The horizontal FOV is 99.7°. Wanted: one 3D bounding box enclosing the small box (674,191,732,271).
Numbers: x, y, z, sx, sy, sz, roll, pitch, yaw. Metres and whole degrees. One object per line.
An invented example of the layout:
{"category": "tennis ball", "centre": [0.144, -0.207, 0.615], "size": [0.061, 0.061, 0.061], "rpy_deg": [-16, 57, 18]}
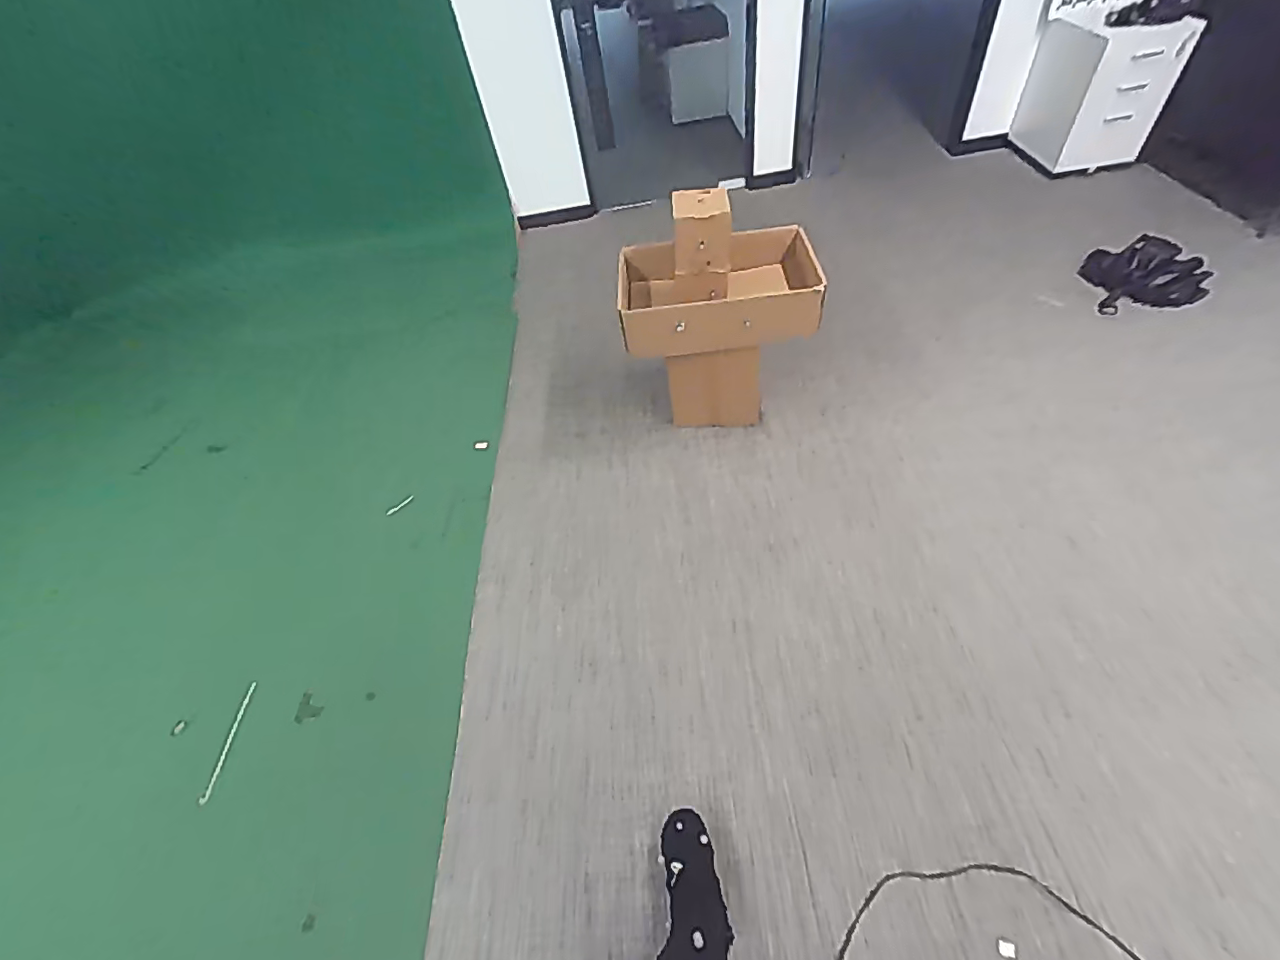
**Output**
{"category": "small box", "centre": [0.192, -0.753, 1.649], "size": [0.168, 0.176, 0.179], "rpy_deg": [-2, 50, 4]}

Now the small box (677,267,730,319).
{"category": "small box", "centre": [0.206, -0.639, 1.767], "size": [0.168, 0.176, 0.179], "rpy_deg": [-2, 48, 5]}
